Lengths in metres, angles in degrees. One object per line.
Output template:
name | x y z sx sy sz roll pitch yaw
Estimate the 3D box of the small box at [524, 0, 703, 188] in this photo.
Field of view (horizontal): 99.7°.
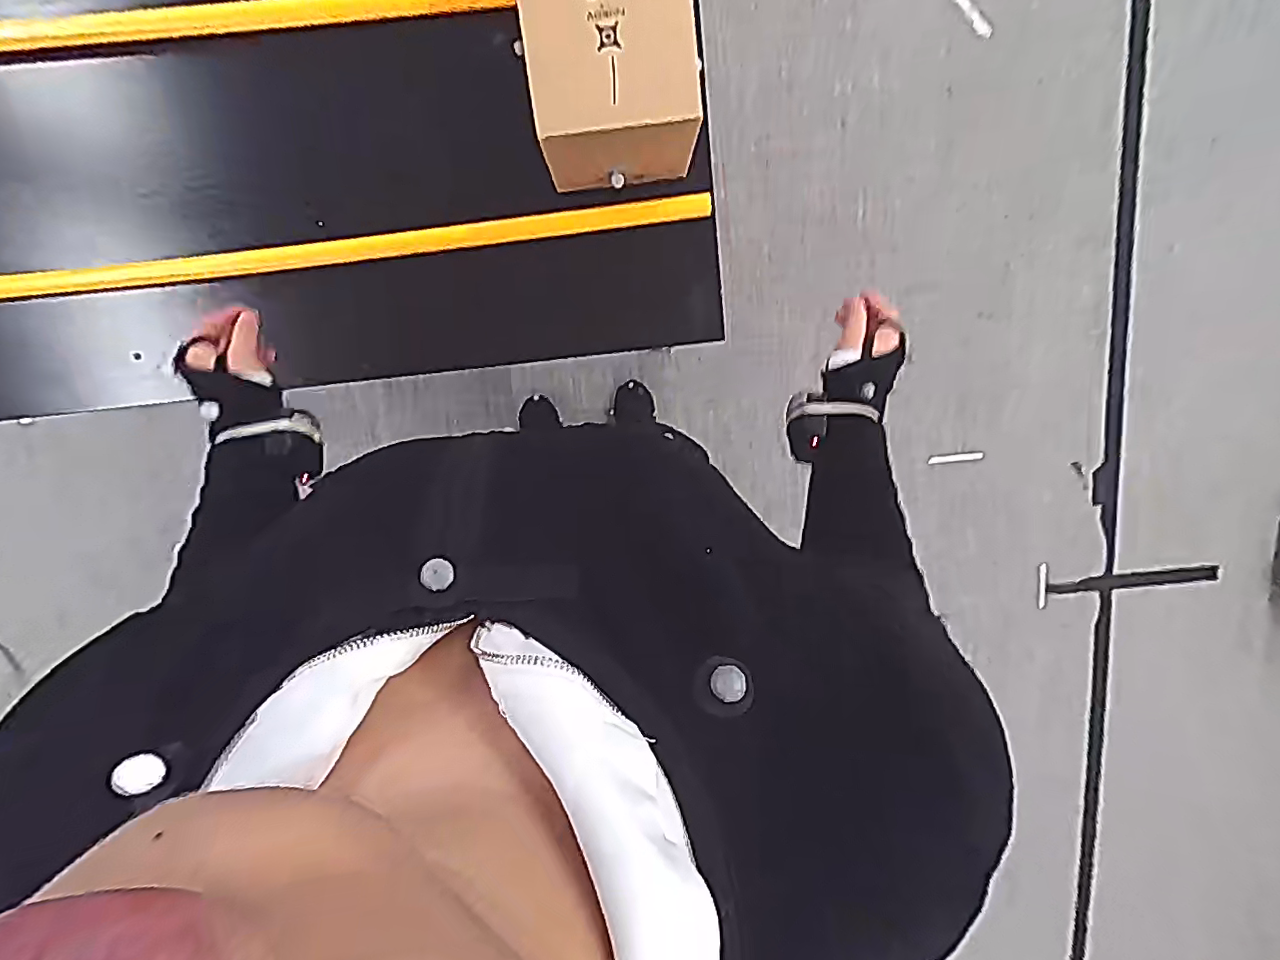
small box | -0.030 -0.448 0.593 0.168 0.176 0.179 -7 102 0
